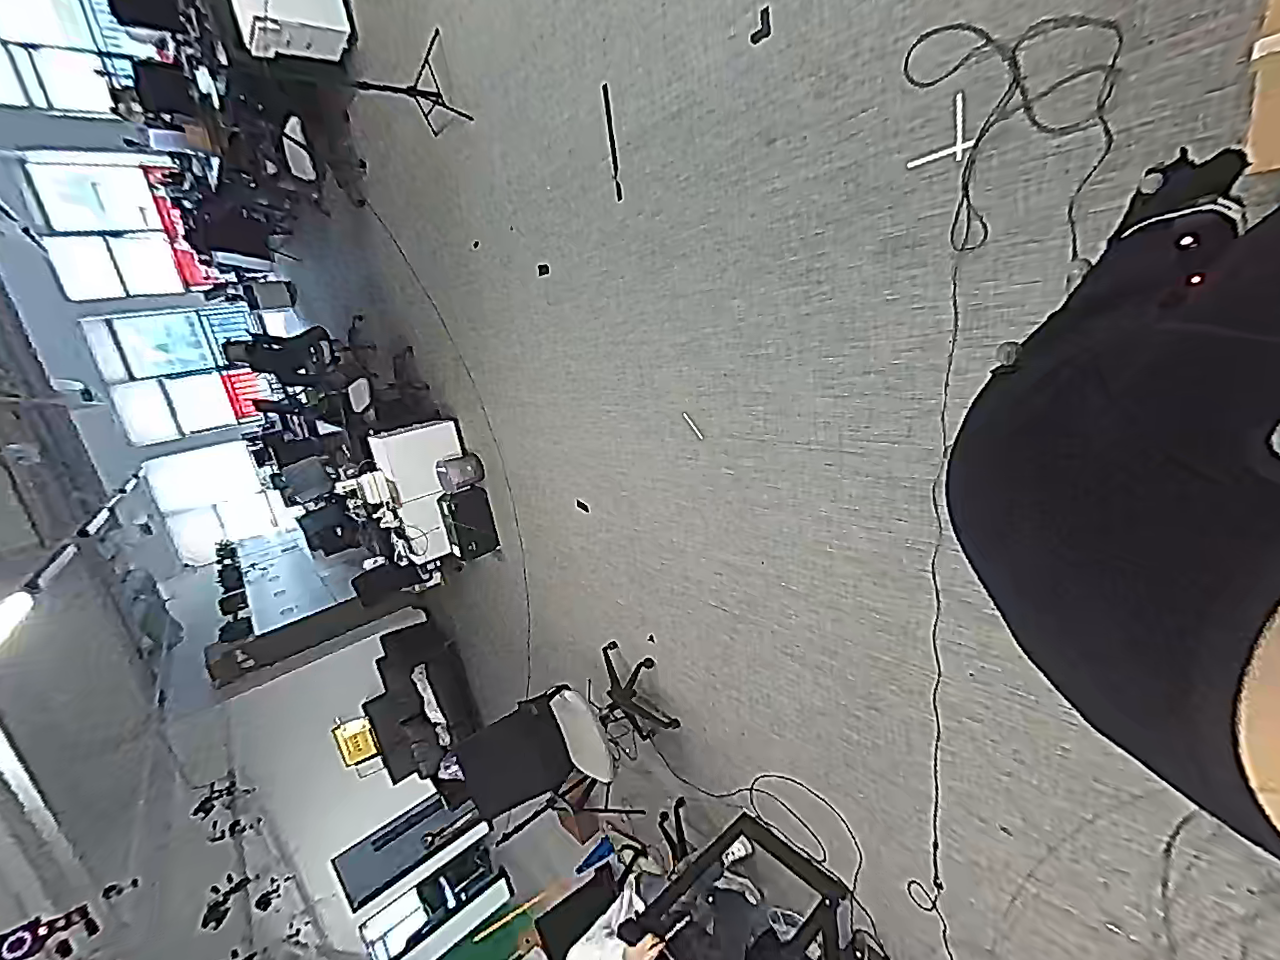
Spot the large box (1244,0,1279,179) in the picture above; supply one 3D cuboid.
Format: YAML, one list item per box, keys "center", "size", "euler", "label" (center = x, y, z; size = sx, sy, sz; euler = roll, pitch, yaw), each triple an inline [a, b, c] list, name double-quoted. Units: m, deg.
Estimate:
- center: [1.070, -0.602, 0.664]
  size: [0.408, 0.320, 0.320]
  euler: [12, 116, 49]
  label: "large box"
